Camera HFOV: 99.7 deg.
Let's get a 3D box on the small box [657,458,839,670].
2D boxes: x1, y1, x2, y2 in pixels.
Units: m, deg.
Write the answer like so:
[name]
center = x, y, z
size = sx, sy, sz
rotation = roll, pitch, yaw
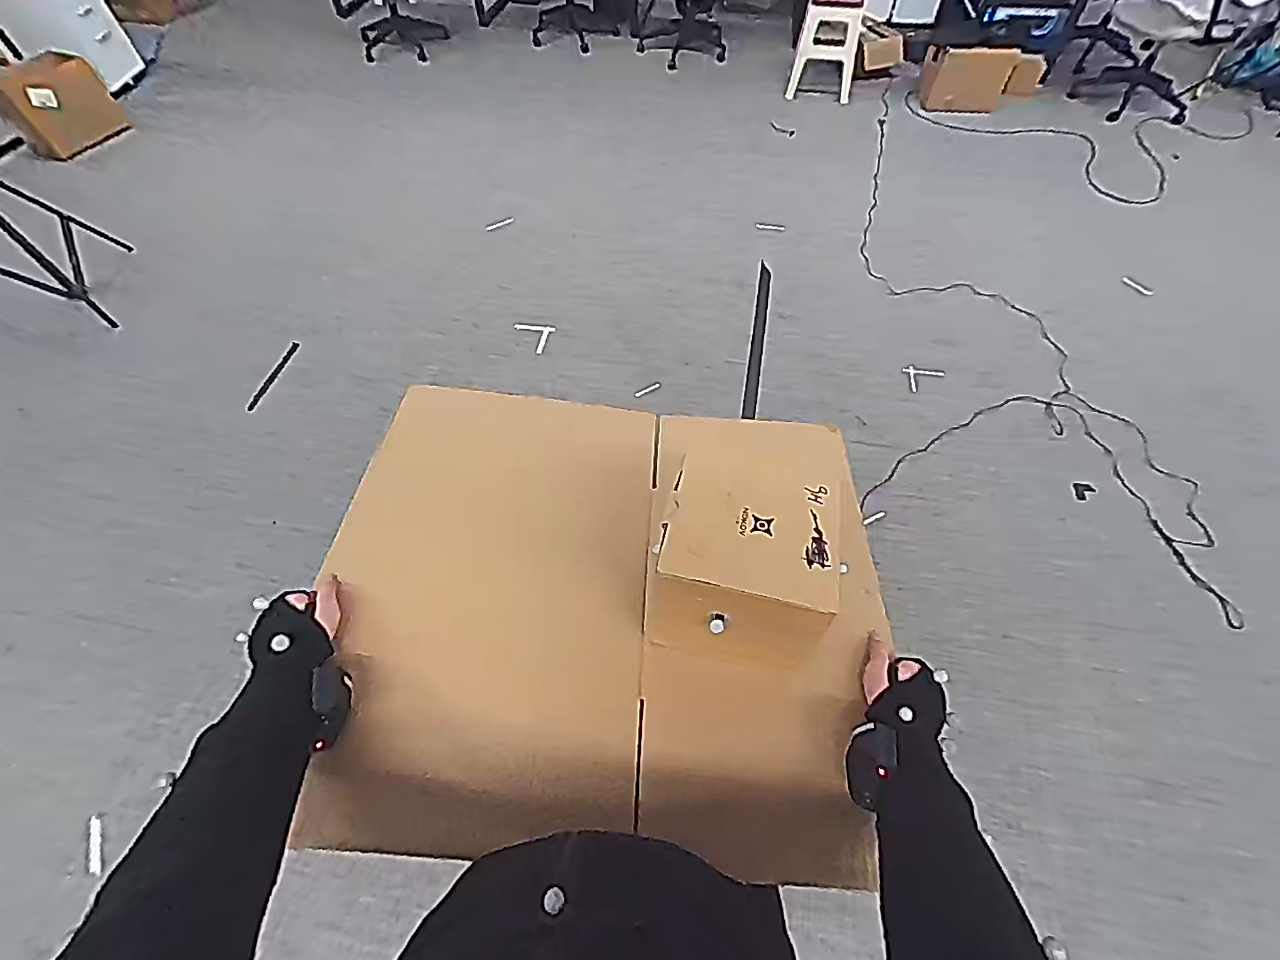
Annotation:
[small box]
center = 0.119, 0.101, 0.628
size = 0.179, 0.176, 0.168
rotation = 11, 52, 9
